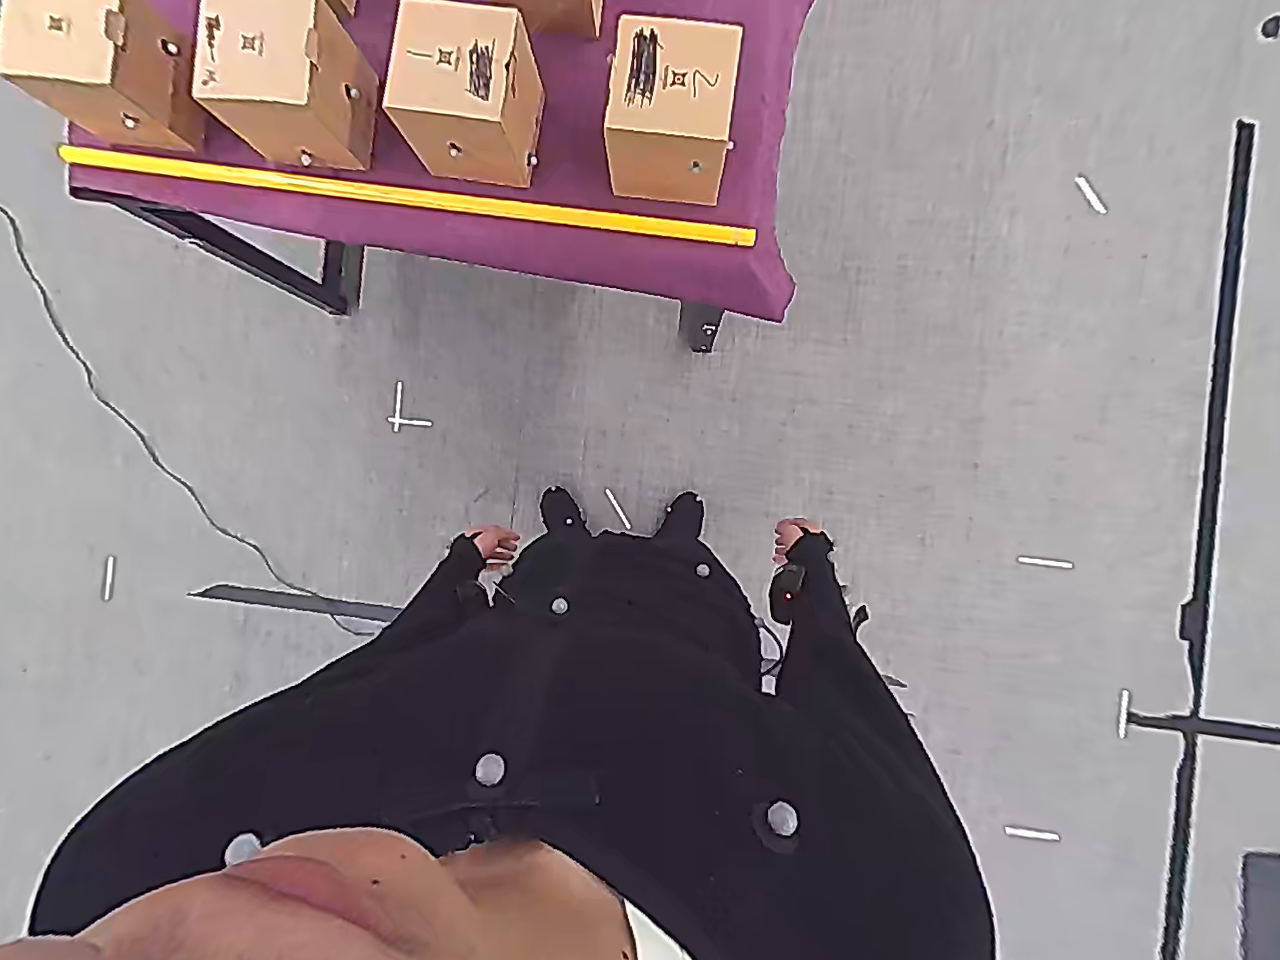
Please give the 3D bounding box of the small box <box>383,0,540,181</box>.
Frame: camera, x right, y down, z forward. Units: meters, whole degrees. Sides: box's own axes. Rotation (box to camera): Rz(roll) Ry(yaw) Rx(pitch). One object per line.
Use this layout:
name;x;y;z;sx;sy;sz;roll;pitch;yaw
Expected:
small box;-0.264;-0.595;0.841;0.179;0.176;0.168;8;88;2

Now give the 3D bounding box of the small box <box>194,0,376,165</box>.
small box;-0.546;-0.628;0.854;0.179;0.176;0.168;6;90;1

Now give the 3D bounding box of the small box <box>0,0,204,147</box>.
small box;-0.838;-0.667;0.864;0.179;0.176;0.168;6;90;0

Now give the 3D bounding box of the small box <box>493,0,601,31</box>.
small box;-0.147;-0.845;0.837;0.179;0.176;0.168;8;91;3
